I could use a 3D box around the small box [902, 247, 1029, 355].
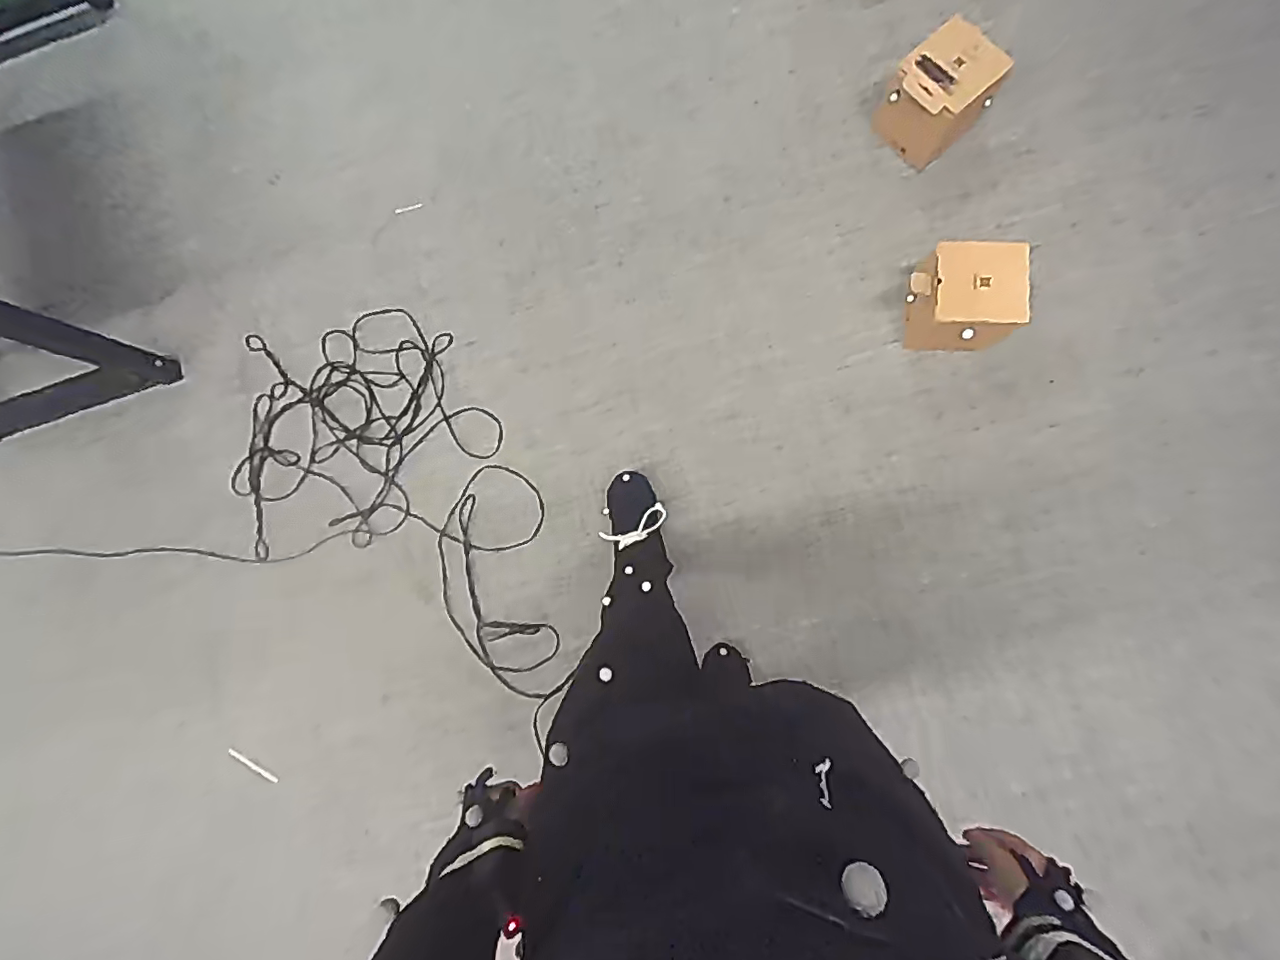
[{"bbox_3d":[0.679,-0.370,1.141,0.179,0.176,0.168,3,84,6],"label":"small box"}]
